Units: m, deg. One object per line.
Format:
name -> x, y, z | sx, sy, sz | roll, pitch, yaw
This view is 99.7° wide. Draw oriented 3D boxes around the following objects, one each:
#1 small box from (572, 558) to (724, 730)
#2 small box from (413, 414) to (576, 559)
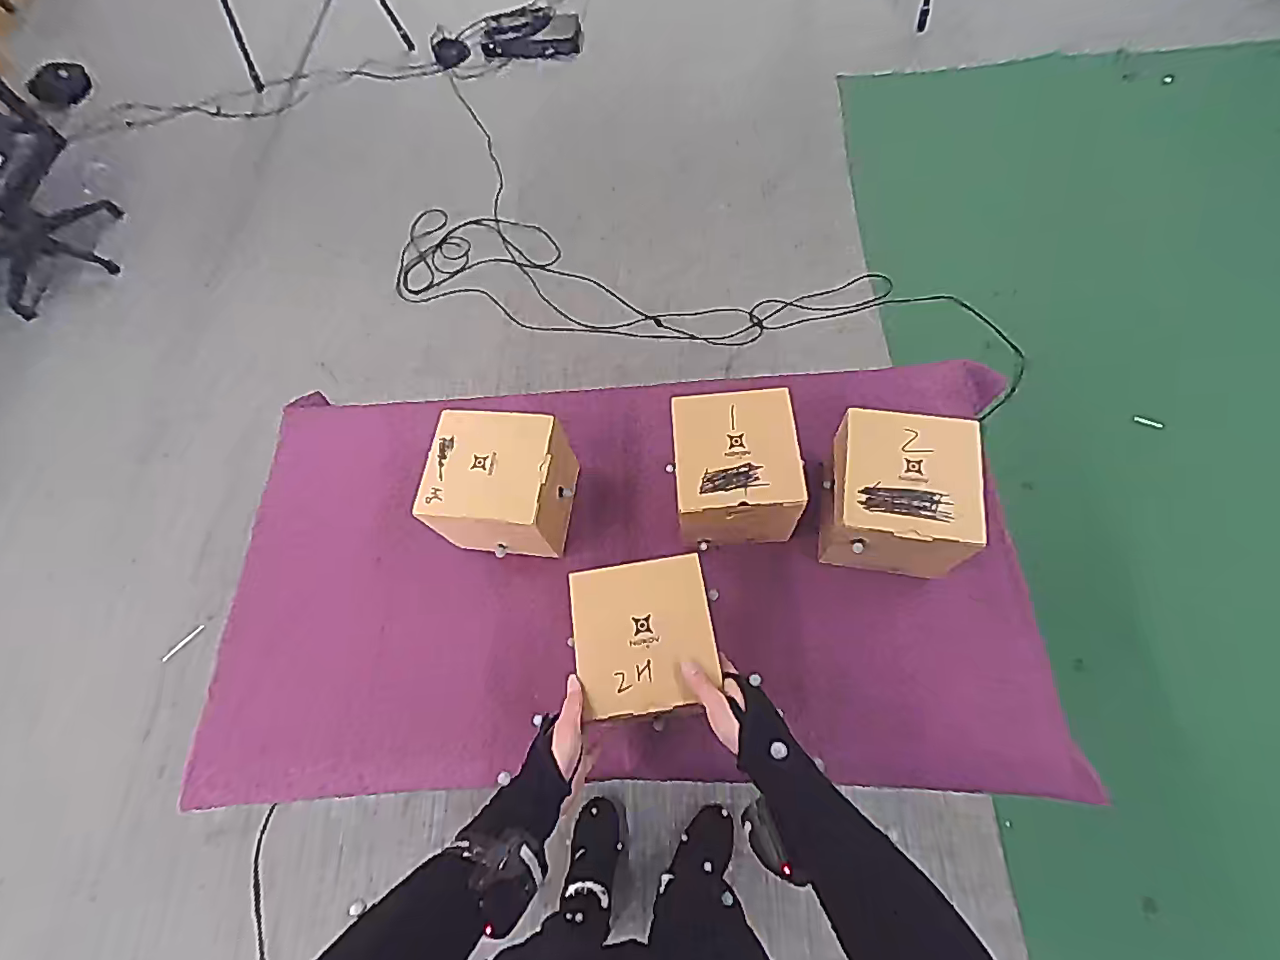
small box -> 0.011, 0.219, 0.706 | 0.168, 0.176, 0.179 | -9, 63, 2
small box -> -0.205, 0.017, 0.825 | 0.179, 0.176, 0.168 | 5, 67, 8
